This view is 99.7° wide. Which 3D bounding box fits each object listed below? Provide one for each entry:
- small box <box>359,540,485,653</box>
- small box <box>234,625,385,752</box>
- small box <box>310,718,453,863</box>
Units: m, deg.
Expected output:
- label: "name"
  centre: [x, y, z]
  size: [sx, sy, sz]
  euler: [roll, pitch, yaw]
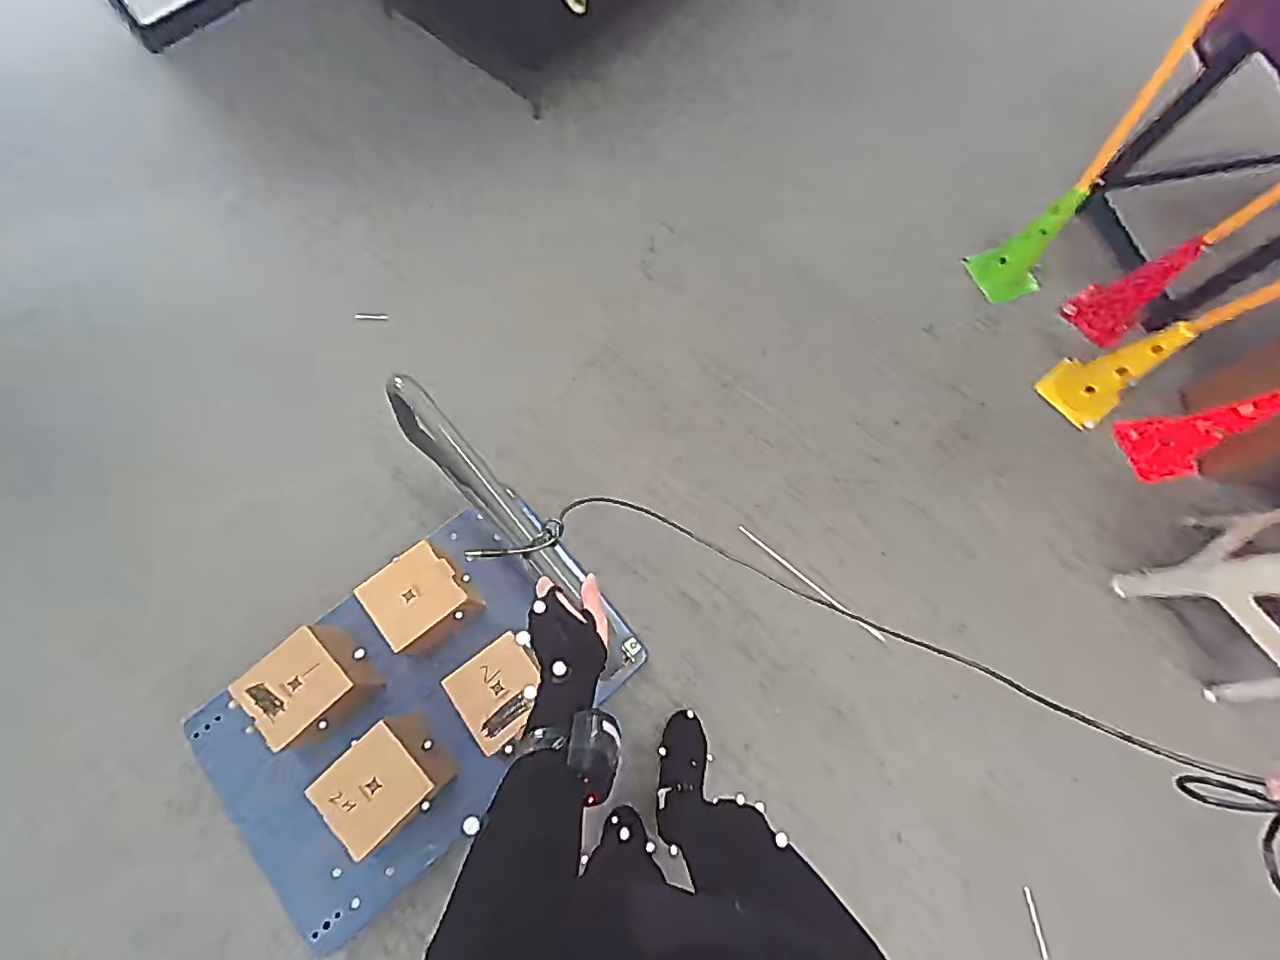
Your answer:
- label: "small box"
  centre: [-0.471, 0.265, 1.195]
  size: [0.179, 0.176, 0.168]
  euler: [-38, 77, -15]
- label: "small box"
  centre: [-0.675, 0.428, 1.127]
  size: [0.179, 0.176, 0.168]
  euler: [-42, 79, -16]
- label: "small box"
  centre: [-0.497, 0.600, 1.076]
  size: [0.179, 0.176, 0.168]
  euler: [-42, 77, -15]
